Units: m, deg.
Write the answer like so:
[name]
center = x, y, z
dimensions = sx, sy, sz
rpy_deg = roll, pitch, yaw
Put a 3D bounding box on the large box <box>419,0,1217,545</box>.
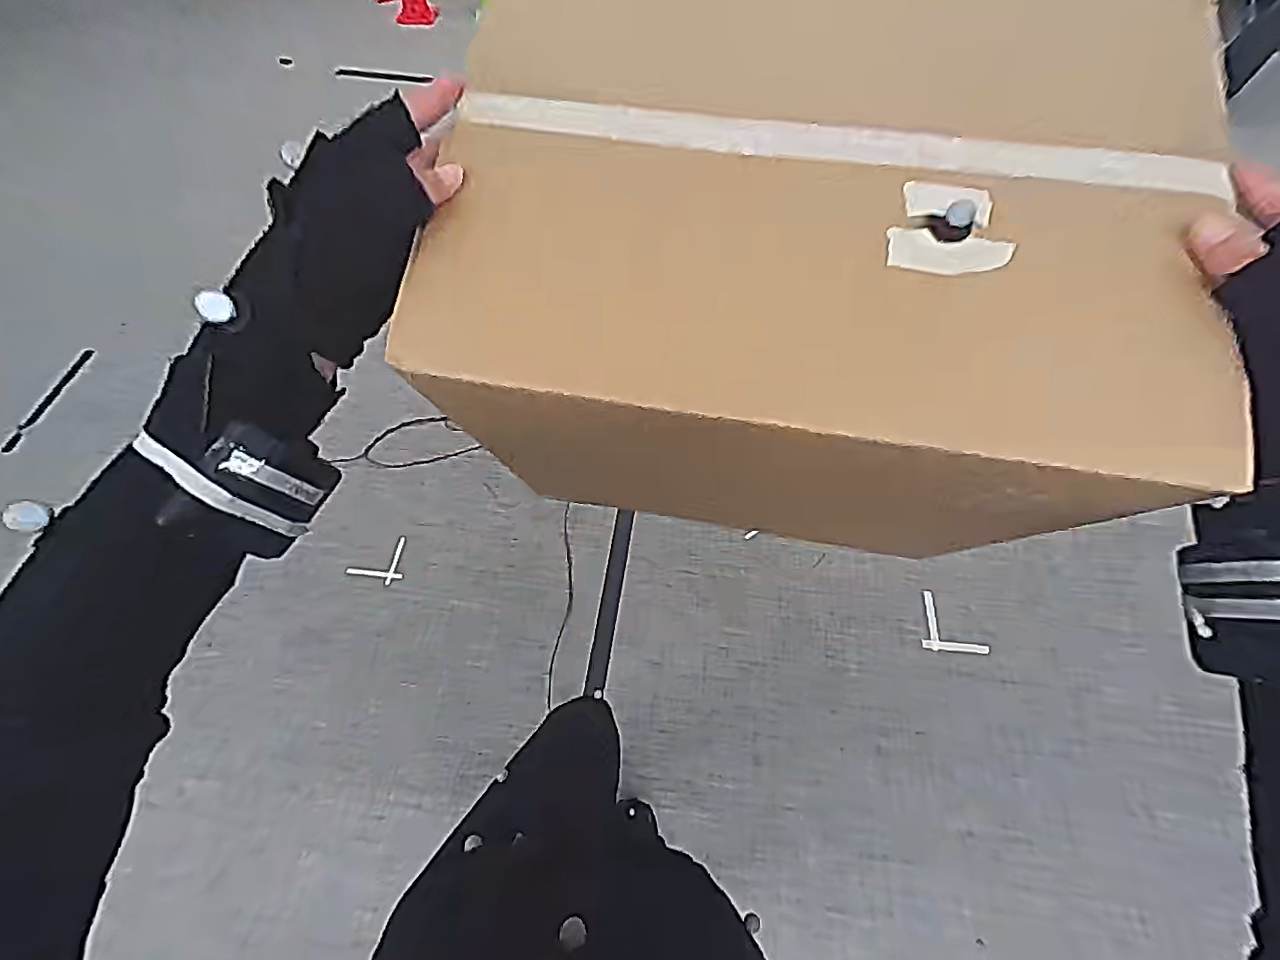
[large box]
center = 0.106, -0.141, 0.445
dimensions = 0.408, 0.320, 0.320
rpy_deg = 9, 79, 5
